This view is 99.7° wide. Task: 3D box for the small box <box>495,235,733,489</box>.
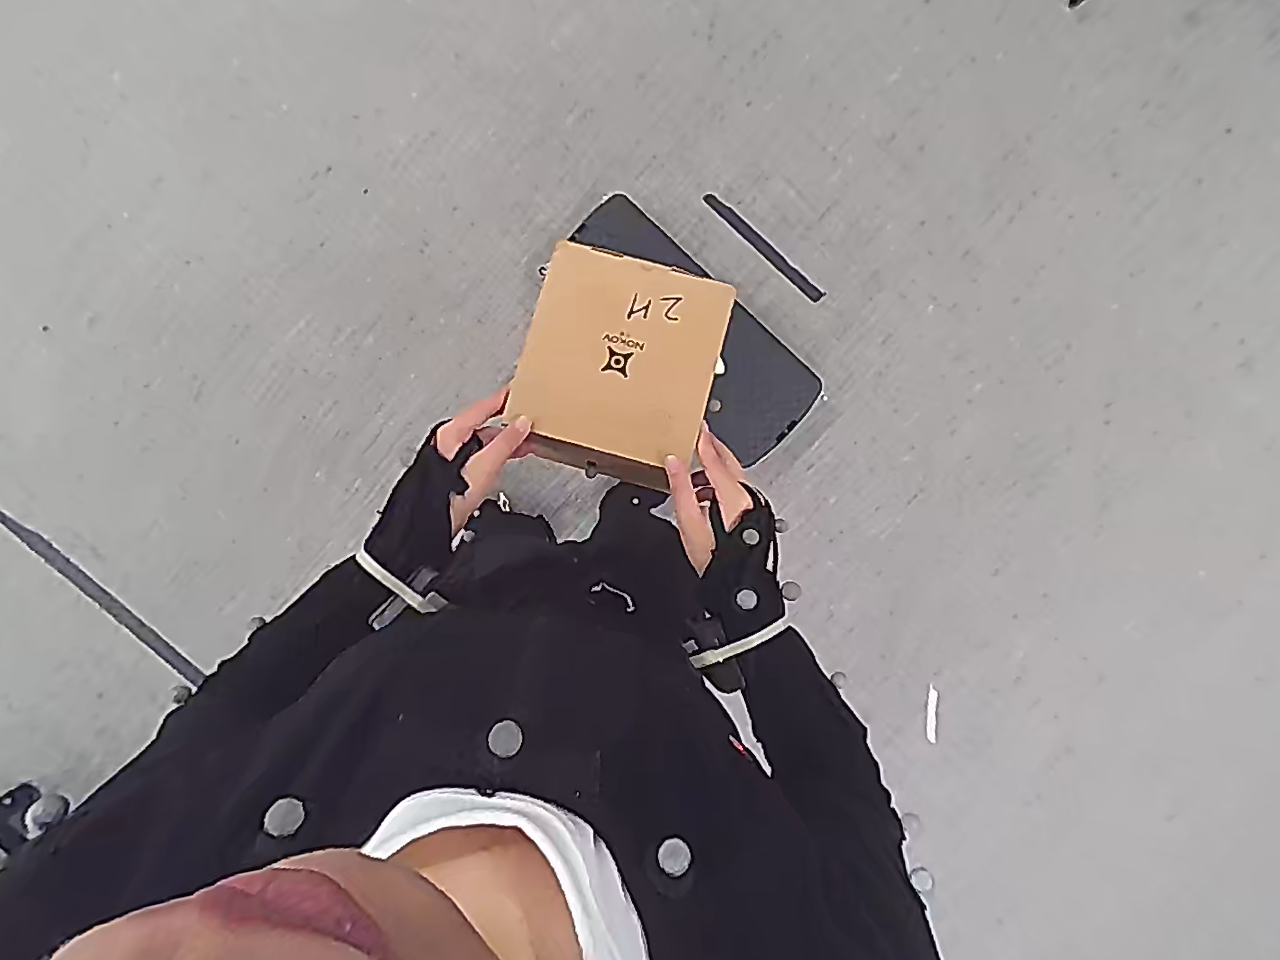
[{"bbox_3d":[-0.022,-0.098,0.536,0.168,0.176,0.179,17,82,0],"label":"small box"}]
